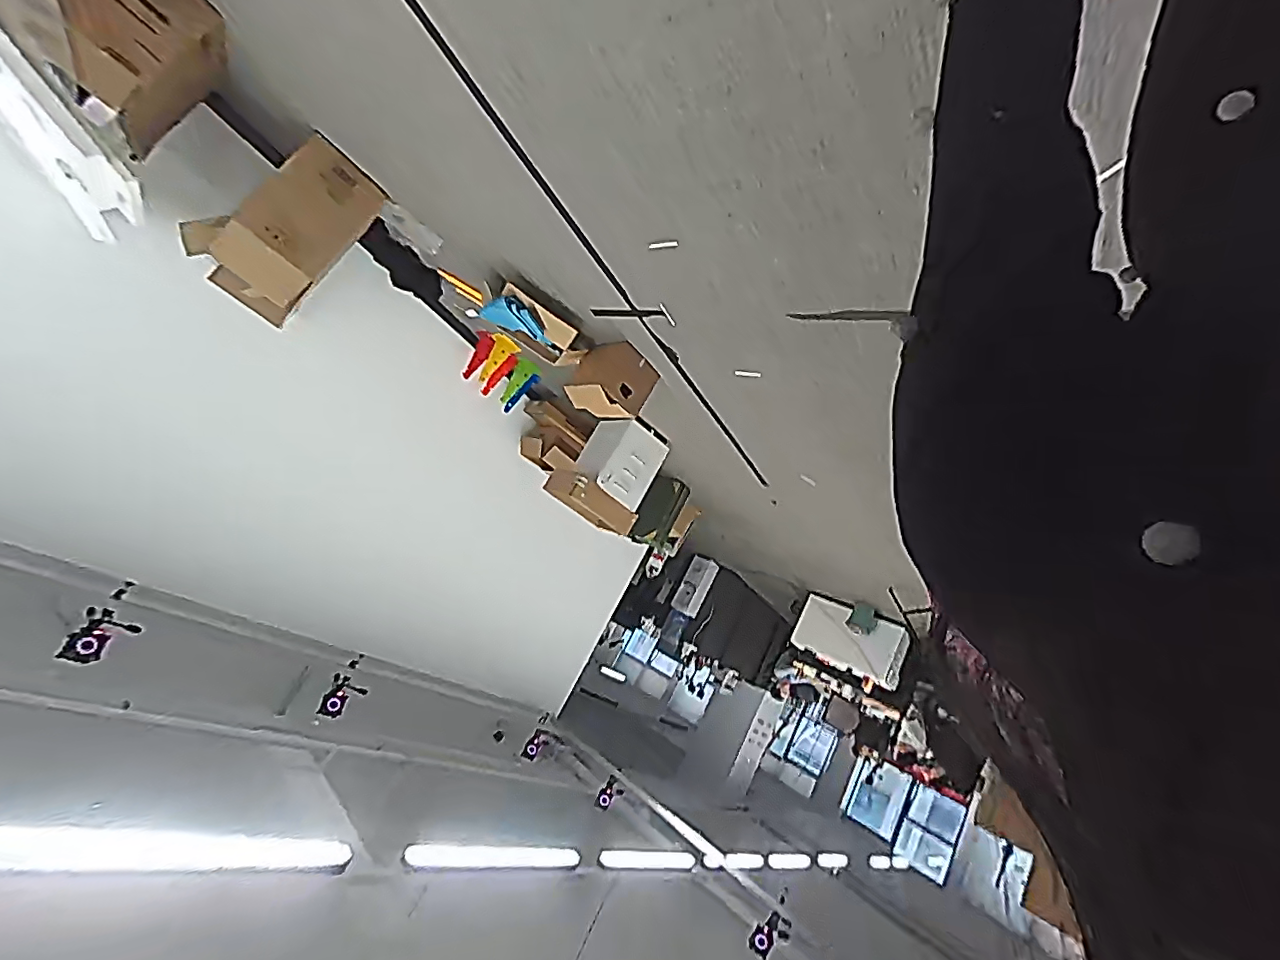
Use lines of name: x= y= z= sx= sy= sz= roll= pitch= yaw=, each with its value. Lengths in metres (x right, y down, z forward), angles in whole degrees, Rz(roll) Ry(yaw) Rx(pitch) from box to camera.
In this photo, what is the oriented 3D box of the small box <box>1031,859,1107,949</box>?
small box: x=1.408 y=1.384 z=1.775 sx=0.168 sy=0.176 sz=0.179 roll=15 pitch=158 yaw=44
